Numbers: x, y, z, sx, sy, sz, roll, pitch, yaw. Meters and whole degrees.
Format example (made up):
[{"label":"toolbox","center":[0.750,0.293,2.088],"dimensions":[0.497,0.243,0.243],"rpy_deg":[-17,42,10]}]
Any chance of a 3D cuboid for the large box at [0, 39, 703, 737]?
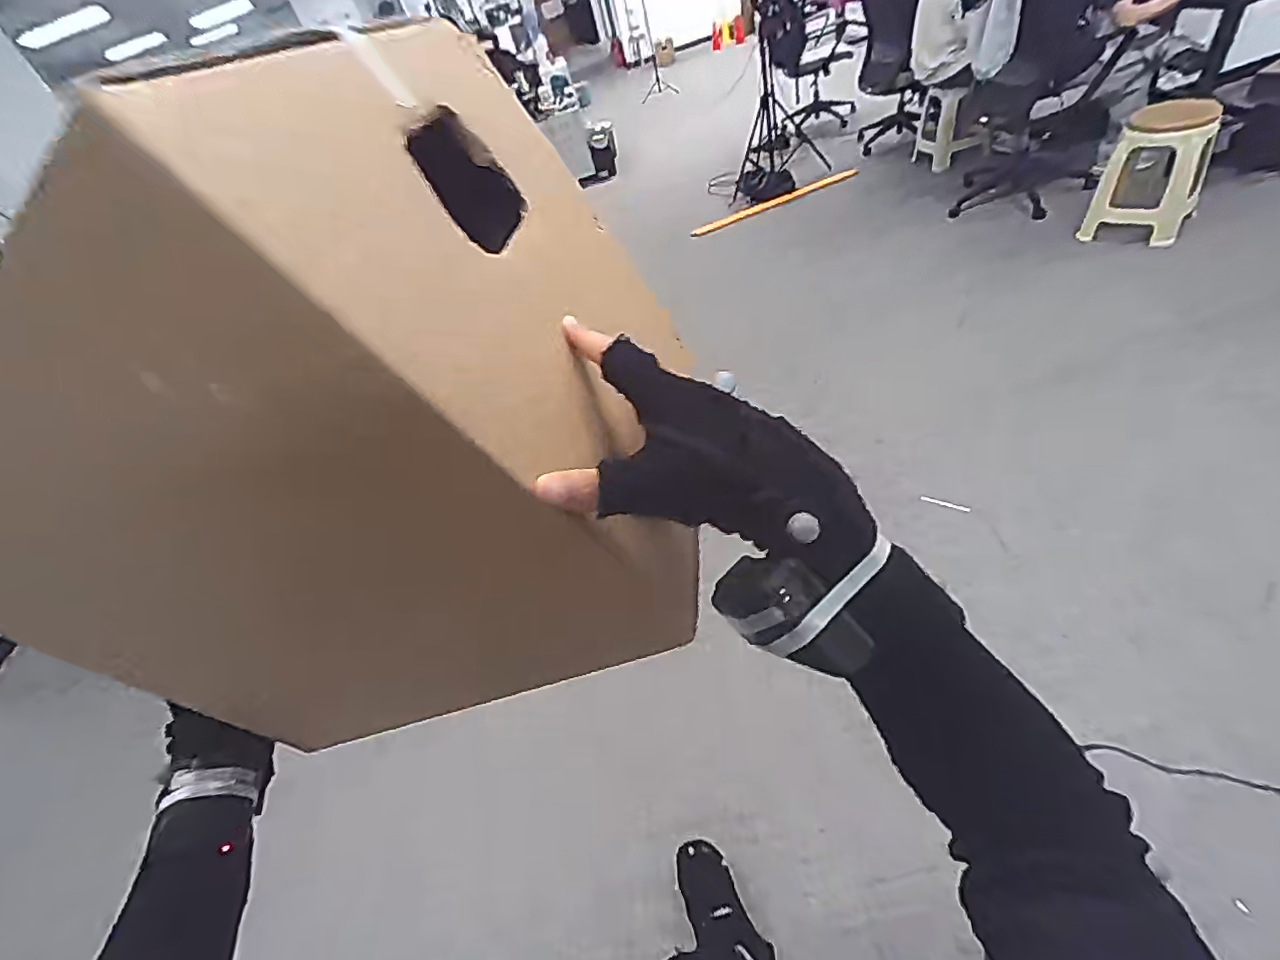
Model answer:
[{"label":"large box","center":[-0.198,-0.036,0.431],"dimensions":[0.408,0.320,0.320],"rpy_deg":[-24,38,25]}]
